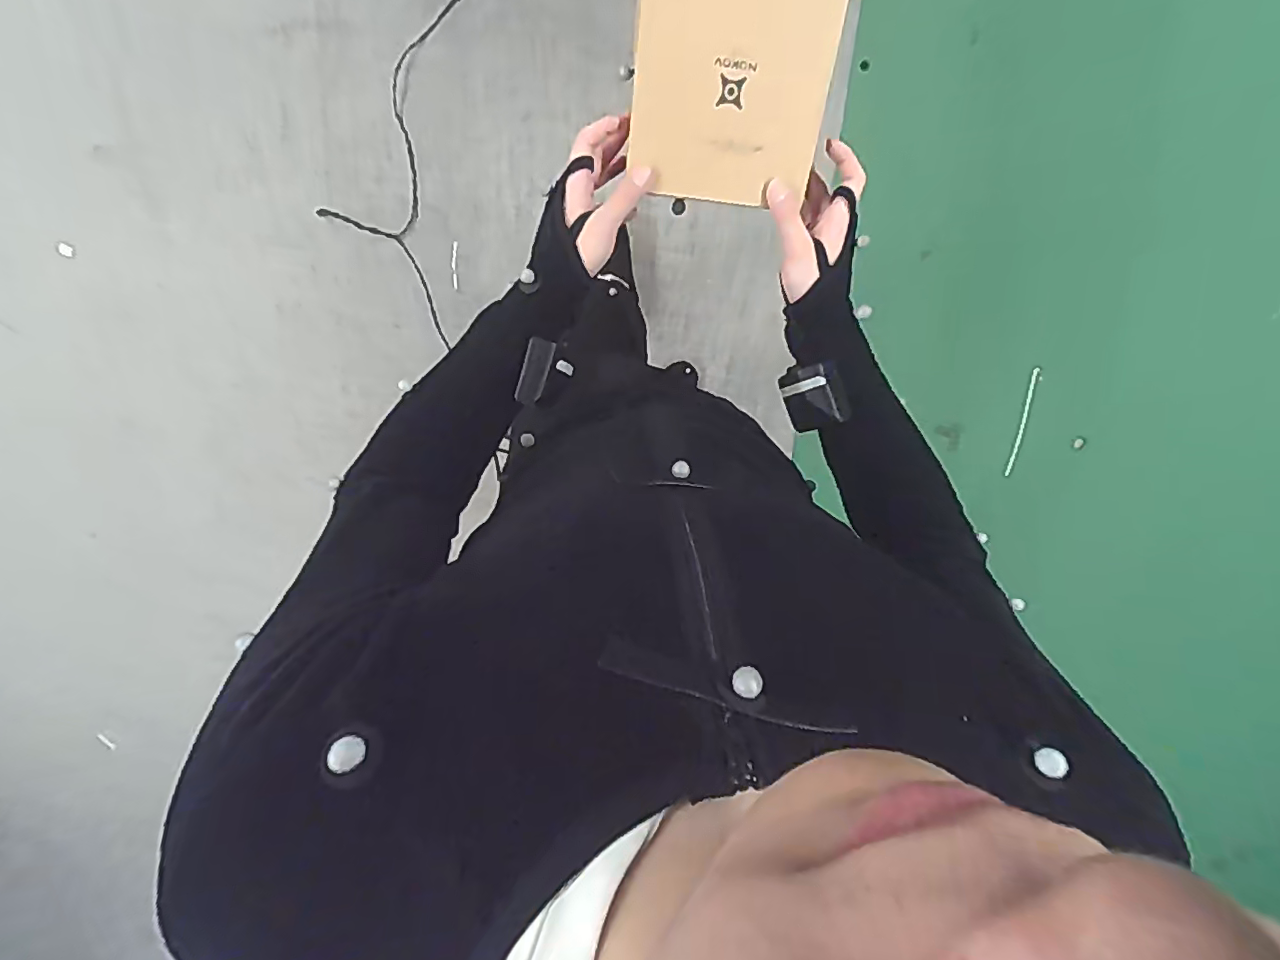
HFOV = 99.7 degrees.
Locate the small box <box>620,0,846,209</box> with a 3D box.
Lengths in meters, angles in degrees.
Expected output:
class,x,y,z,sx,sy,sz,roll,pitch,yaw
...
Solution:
class,x,y,z,sx,sy,sz,roll,pitch,yaw
small box,0.071,-0.369,0.518,0.168,0.176,0.179,5,118,-5
